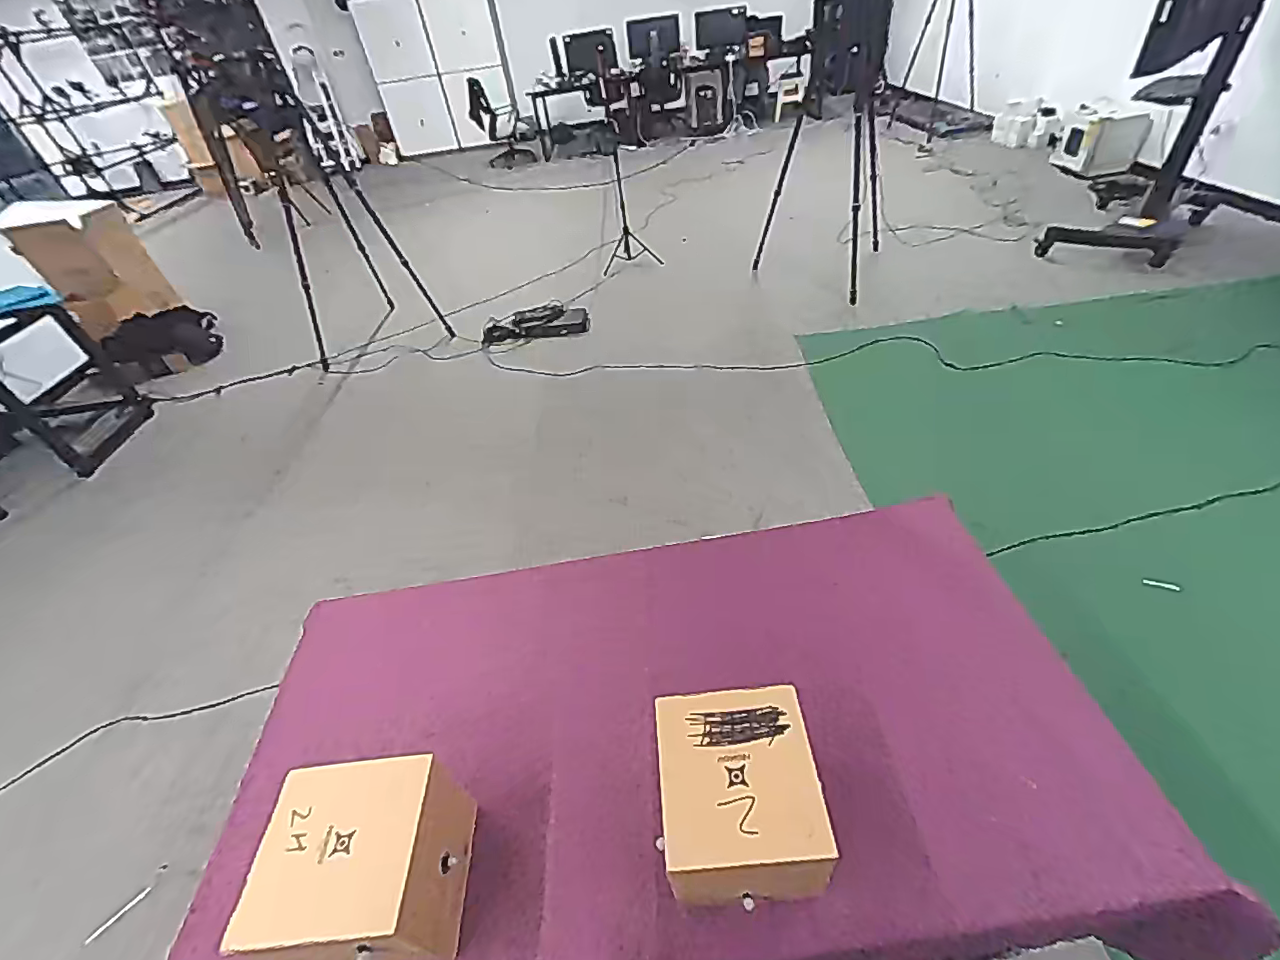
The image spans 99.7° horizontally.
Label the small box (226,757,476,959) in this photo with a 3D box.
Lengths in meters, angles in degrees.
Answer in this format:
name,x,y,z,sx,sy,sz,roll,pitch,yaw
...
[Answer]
name,x,y,z,sx,sy,sz,roll,pitch,yaw
small box,-0.308,0.447,0.628,0.179,0.176,0.168,-8,41,3
